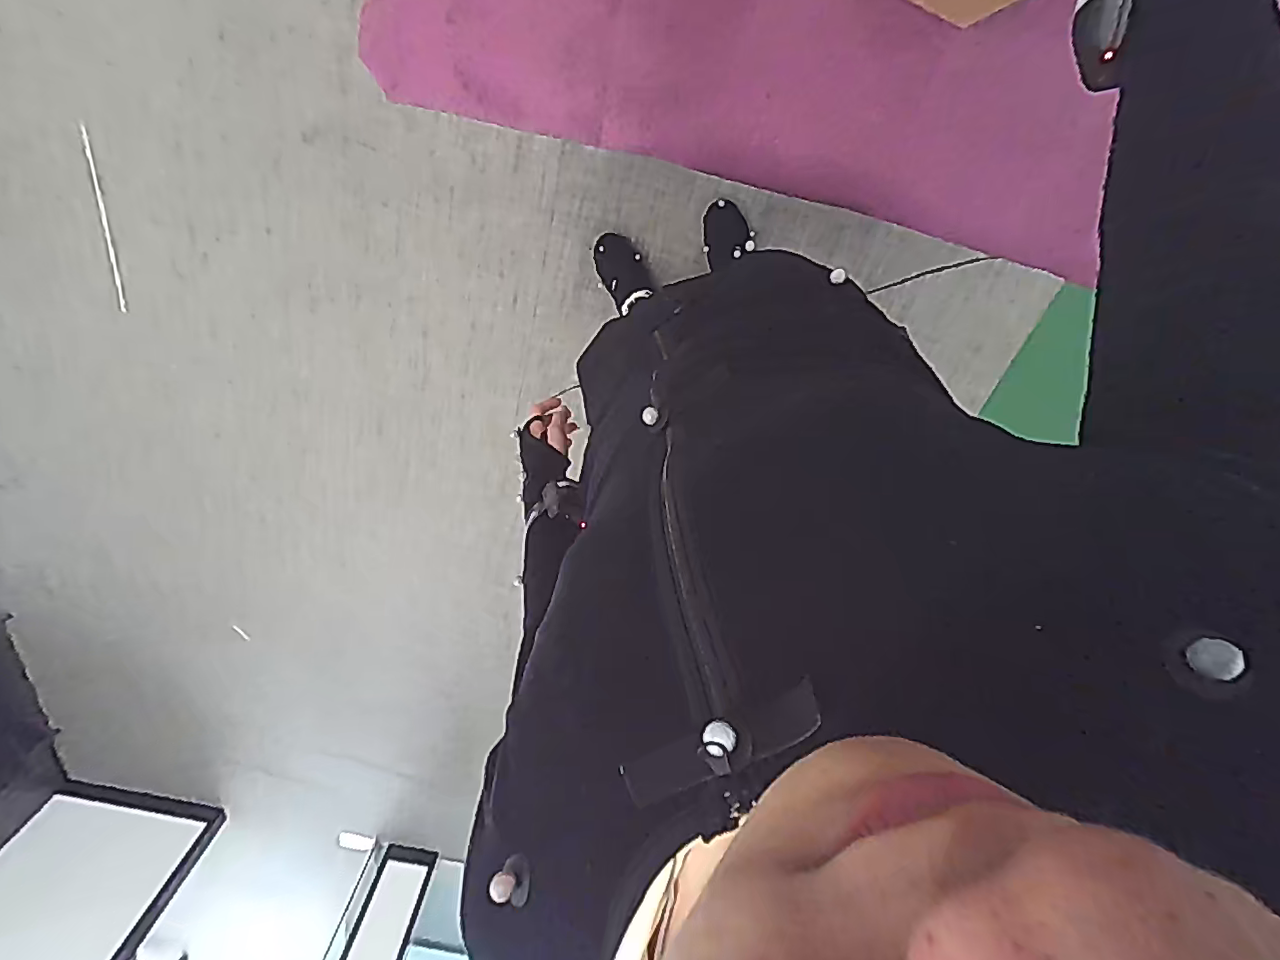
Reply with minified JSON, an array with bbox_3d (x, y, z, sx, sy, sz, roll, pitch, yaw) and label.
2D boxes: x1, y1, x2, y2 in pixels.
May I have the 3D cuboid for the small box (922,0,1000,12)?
[{"bbox_3d":[0.314,-0.571,0.492,0.179,0.176,0.168,21,119,-6],"label":"small box"}]
